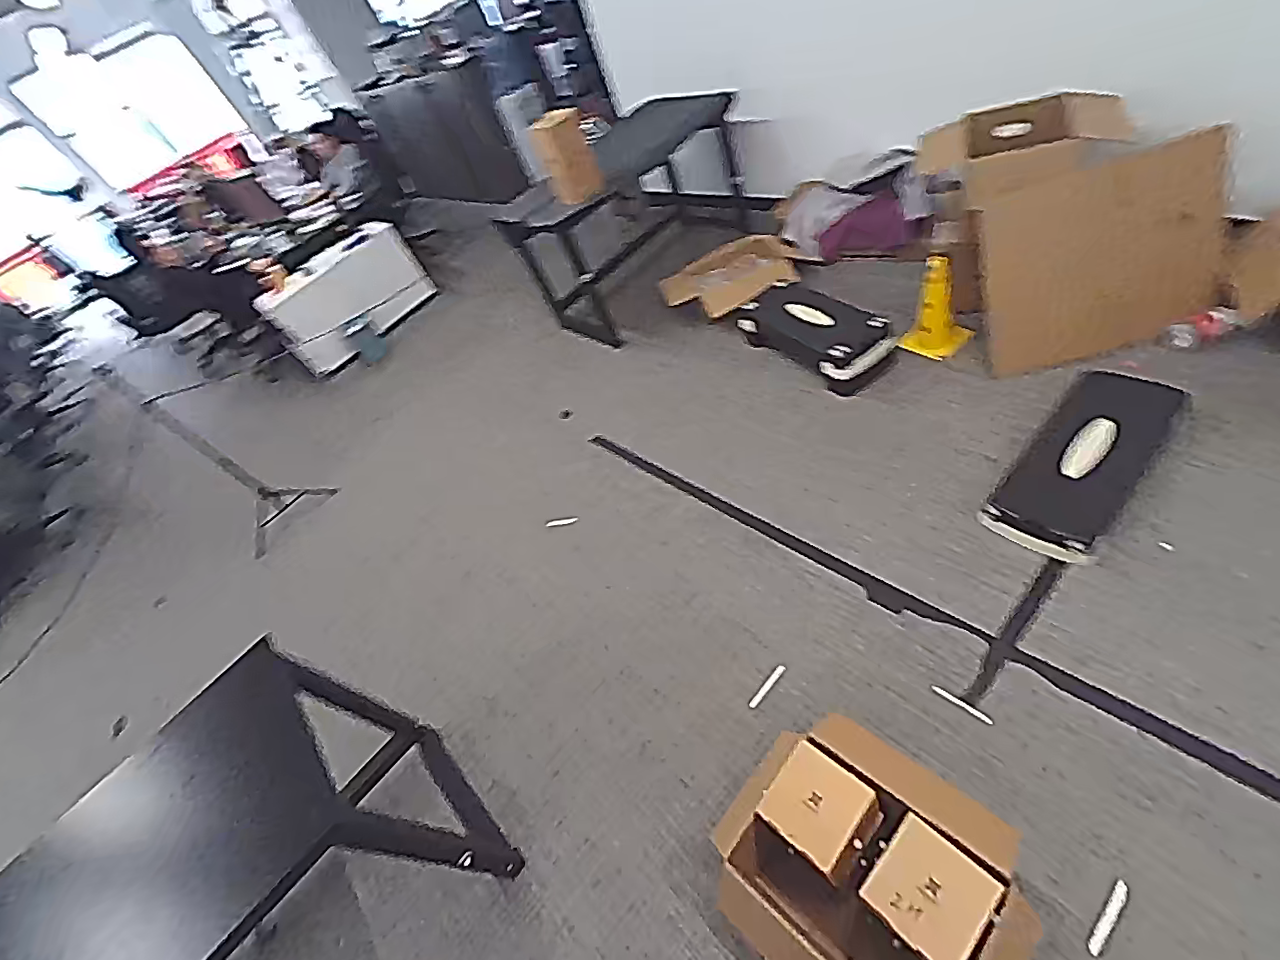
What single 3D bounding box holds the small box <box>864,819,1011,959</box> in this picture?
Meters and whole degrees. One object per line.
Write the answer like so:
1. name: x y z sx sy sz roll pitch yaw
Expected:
1. small box: 0.526 0.760 0.972 0.179 0.176 0.168 -44 46 -16
